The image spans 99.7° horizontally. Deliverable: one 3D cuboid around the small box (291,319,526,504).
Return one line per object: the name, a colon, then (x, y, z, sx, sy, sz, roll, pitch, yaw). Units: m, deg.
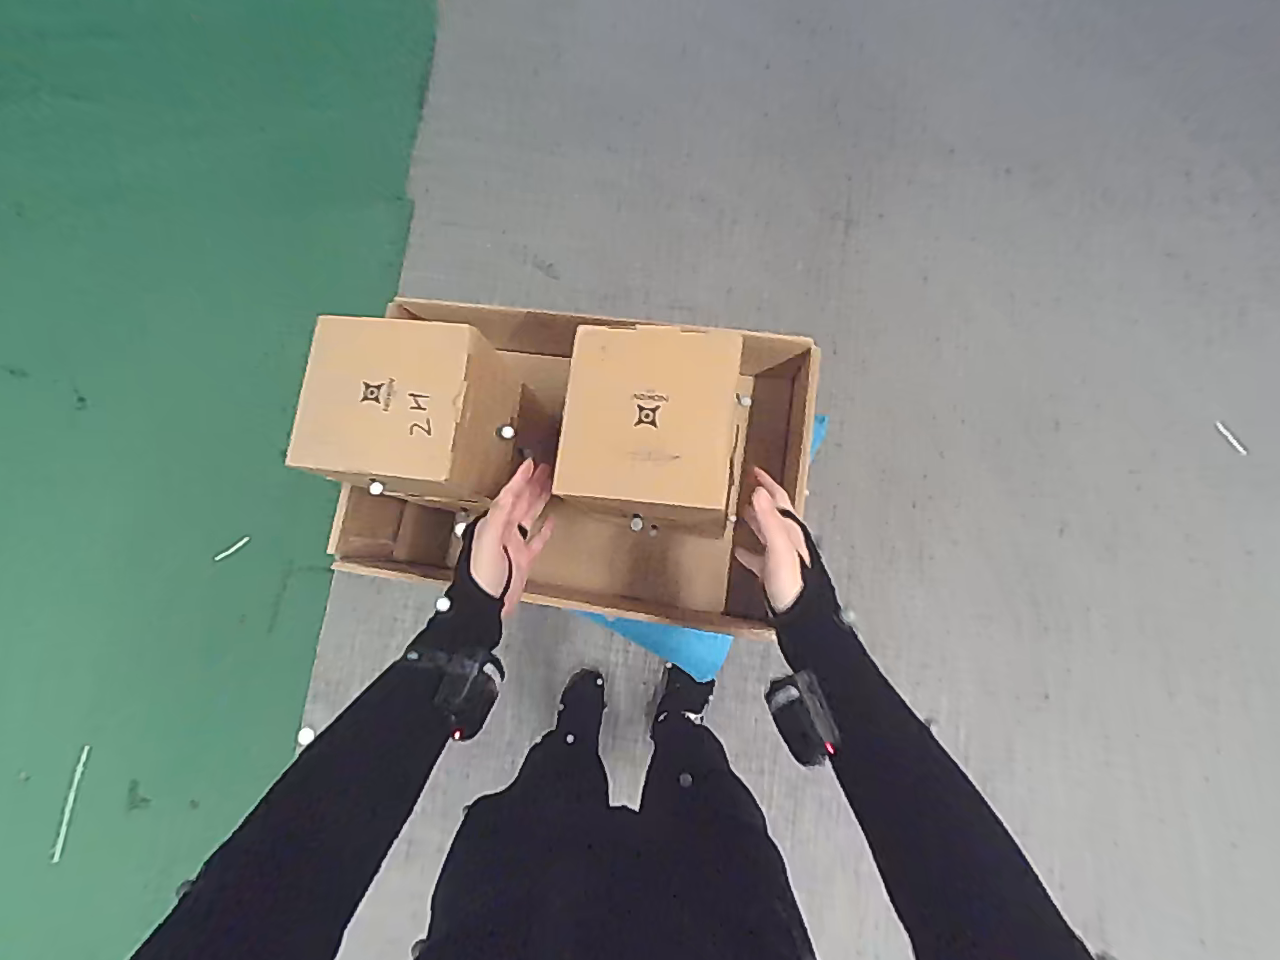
small box: (-0.252, -0.069, 0.630, 0.179, 0.176, 0.168, 6, 81, 7)

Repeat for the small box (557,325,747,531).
small box: (0.022, -0.047, 0.593, 0.168, 0.176, 0.179, 6, 80, 10)
